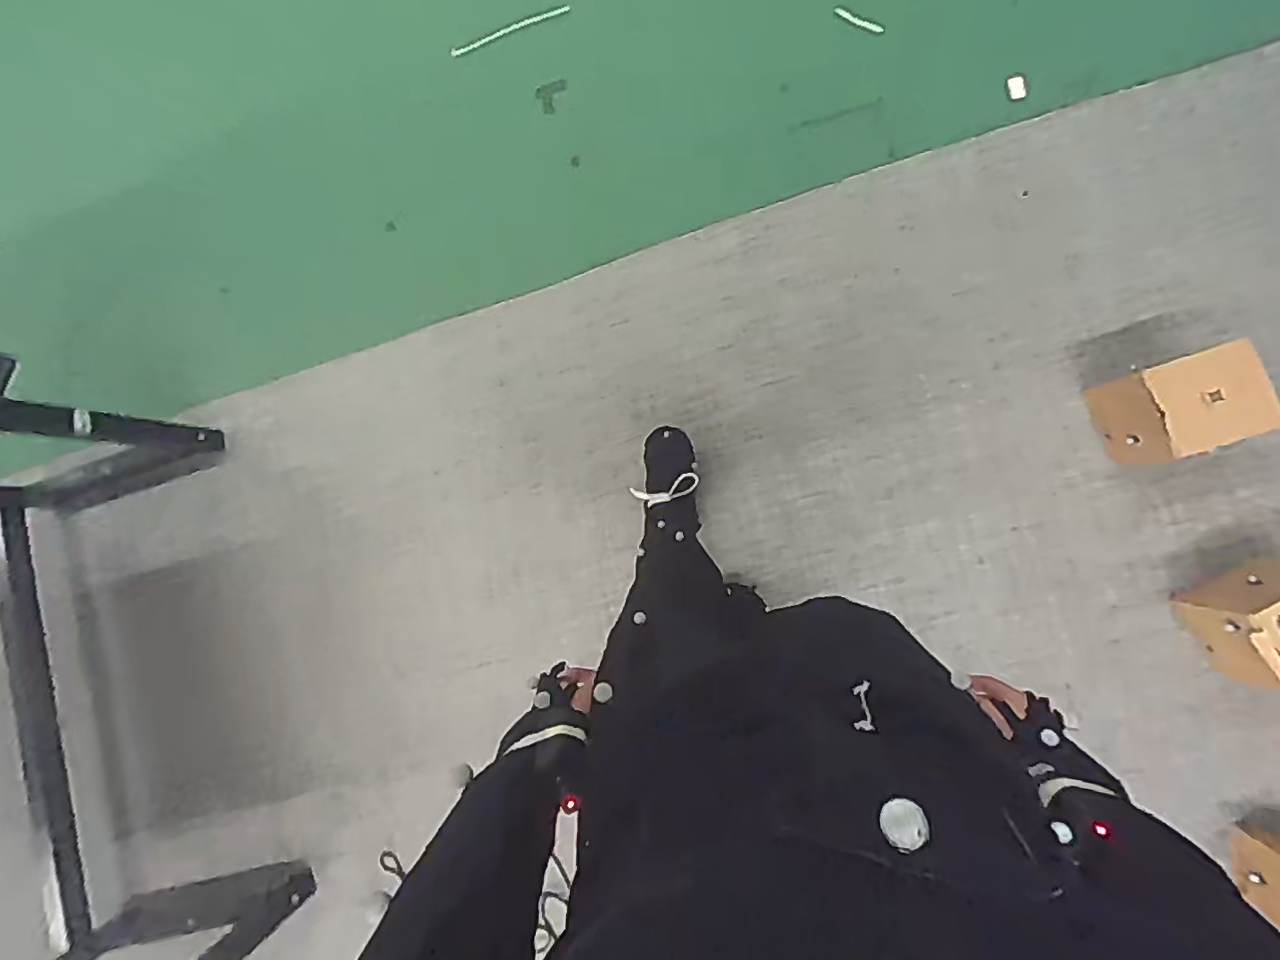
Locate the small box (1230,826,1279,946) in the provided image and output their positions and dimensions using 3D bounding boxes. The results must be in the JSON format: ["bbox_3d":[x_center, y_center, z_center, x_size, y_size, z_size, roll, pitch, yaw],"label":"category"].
[{"bbox_3d":[1.191,0.730,0.927,0.179,0.176,0.168,3,88,9],"label":"small box"}]

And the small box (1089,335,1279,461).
[{"bbox_3d":[0.988,-0.140,1.002,0.179,0.176,0.168,-19,85,6],"label":"small box"}]
